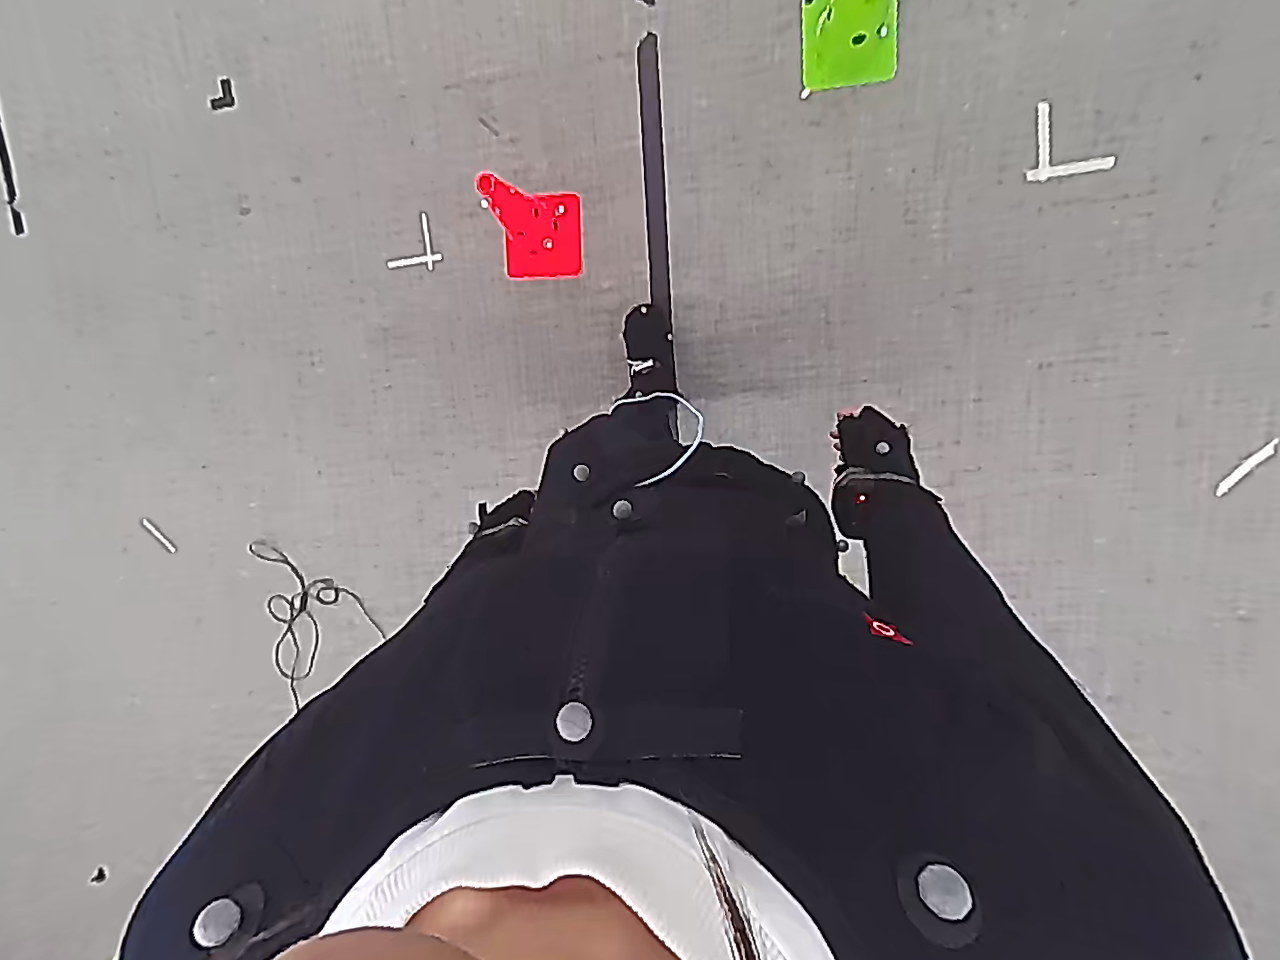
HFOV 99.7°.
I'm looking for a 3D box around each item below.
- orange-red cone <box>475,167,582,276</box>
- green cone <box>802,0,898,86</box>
[{"bbox_3d":[-0.269,-0.590,1.183,0.199,0.360,0.198,2,98,9],"label":"orange-red cone"},{"bbox_3d":[0.439,-0.956,1.019,0.202,0.368,0.200,-3,99,7],"label":"green cone"}]
